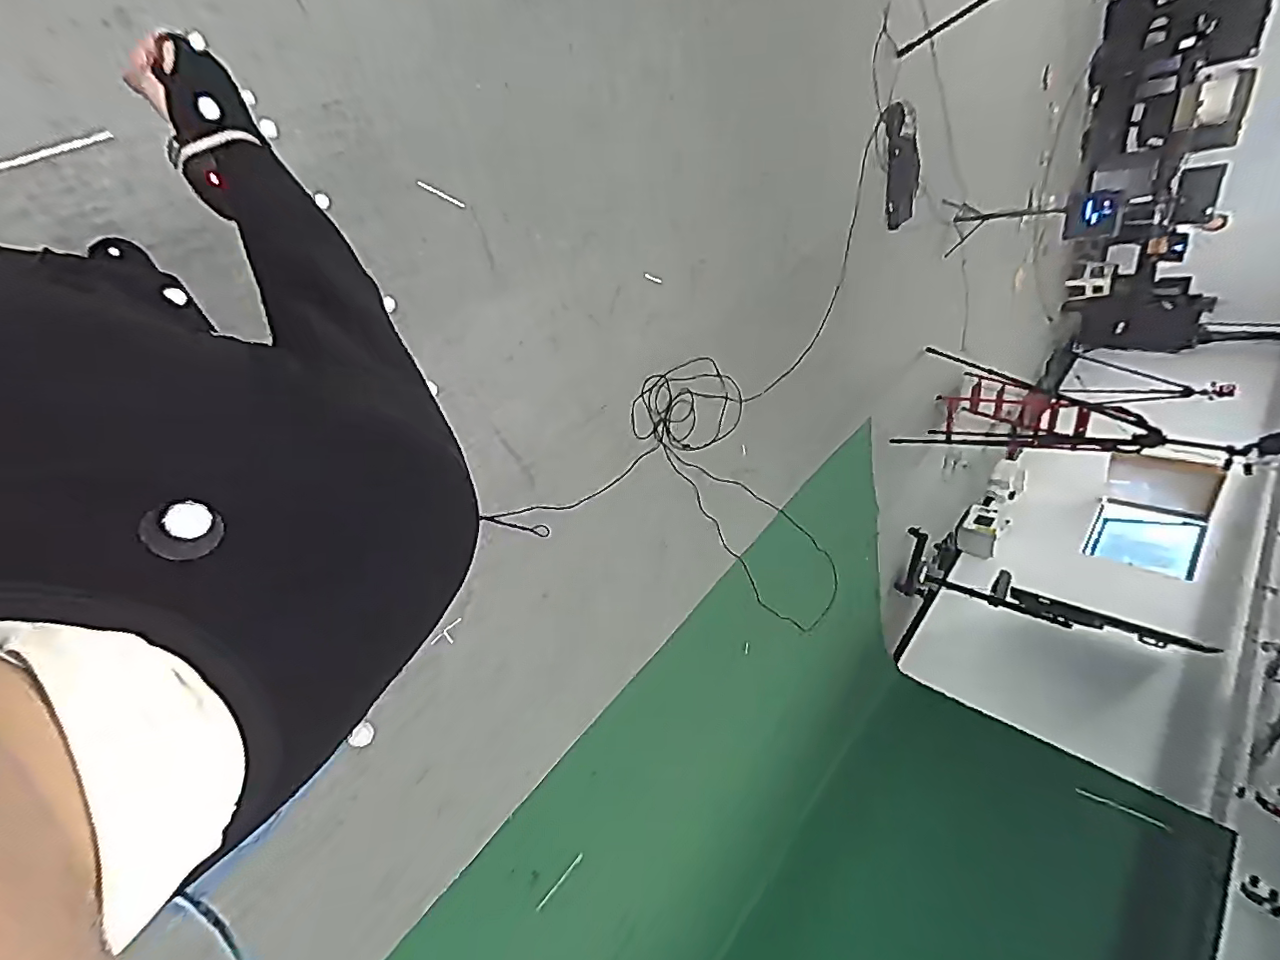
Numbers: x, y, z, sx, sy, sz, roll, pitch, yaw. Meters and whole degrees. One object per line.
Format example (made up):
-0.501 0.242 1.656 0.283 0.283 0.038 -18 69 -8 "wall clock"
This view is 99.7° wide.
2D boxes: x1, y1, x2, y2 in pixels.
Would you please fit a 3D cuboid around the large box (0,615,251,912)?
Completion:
-1.081 0.533 1.040 0.320 0.320 0.408 -48 133 -24 "large box"
